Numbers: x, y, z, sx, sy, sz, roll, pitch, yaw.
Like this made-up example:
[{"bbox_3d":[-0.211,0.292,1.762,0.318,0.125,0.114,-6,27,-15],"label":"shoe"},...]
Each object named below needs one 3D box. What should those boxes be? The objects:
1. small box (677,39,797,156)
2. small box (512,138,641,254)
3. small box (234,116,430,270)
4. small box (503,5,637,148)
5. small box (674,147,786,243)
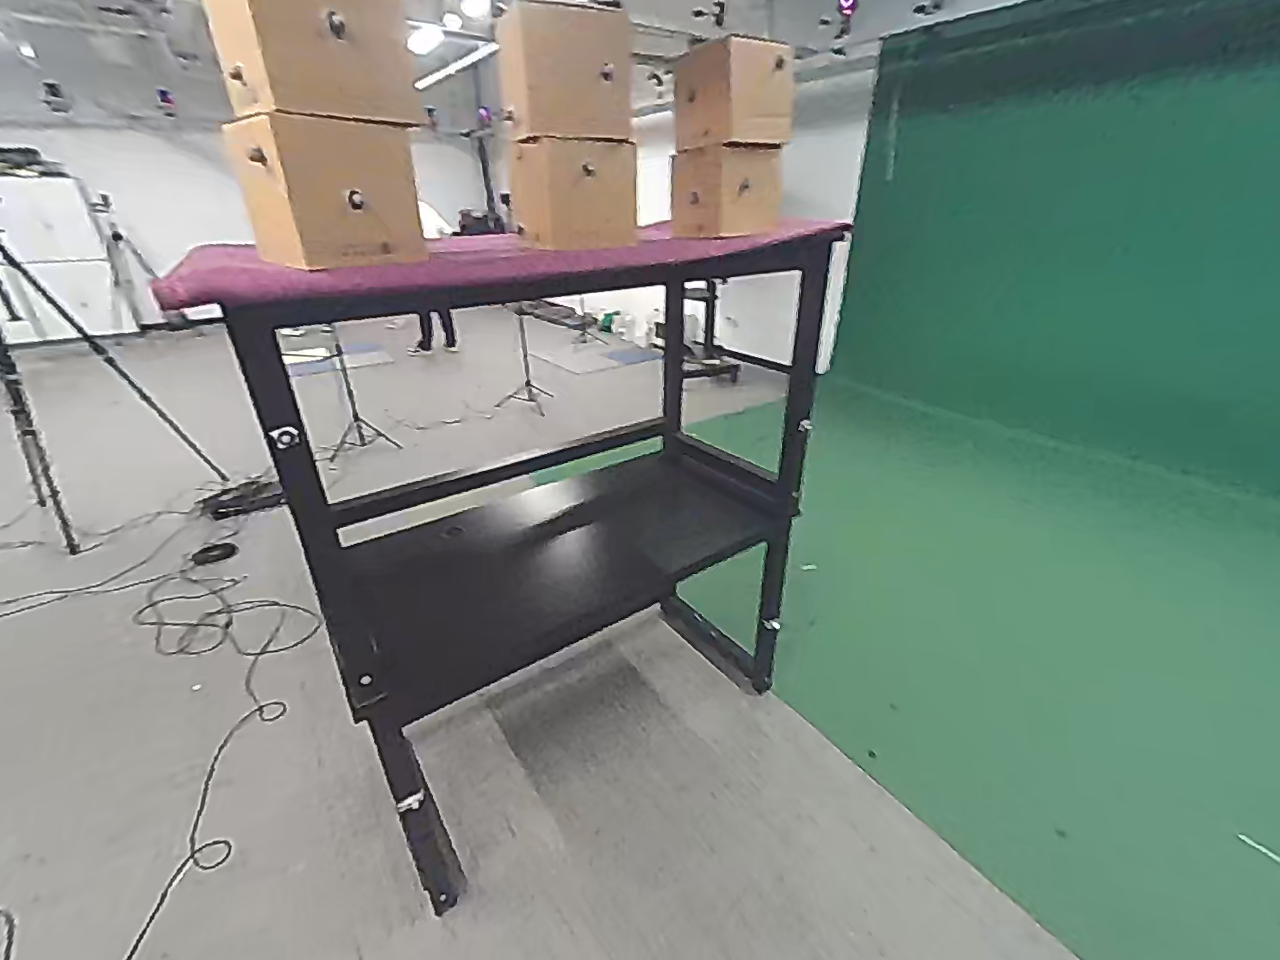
[{"bbox_3d":[0.194,-0.753,1.089,0.179,0.176,0.168,-19,30,-30],"label":"small box"},{"bbox_3d":[-0.110,-0.502,0.970,0.179,0.176,0.168,-17,32,-30],"label":"small box"},{"bbox_3d":[-0.410,-0.382,0.737,0.179,0.176,0.168,23,34,37],"label":"small box"},{"bbox_3d":[-0.115,-0.645,0.893,0.179,0.176,0.168,-13,29,-21],"label":"small box"},{"bbox_3d":[0.194,-0.610,1.169,0.179,0.176,0.168,-20,31,-29],"label":"small box"}]
